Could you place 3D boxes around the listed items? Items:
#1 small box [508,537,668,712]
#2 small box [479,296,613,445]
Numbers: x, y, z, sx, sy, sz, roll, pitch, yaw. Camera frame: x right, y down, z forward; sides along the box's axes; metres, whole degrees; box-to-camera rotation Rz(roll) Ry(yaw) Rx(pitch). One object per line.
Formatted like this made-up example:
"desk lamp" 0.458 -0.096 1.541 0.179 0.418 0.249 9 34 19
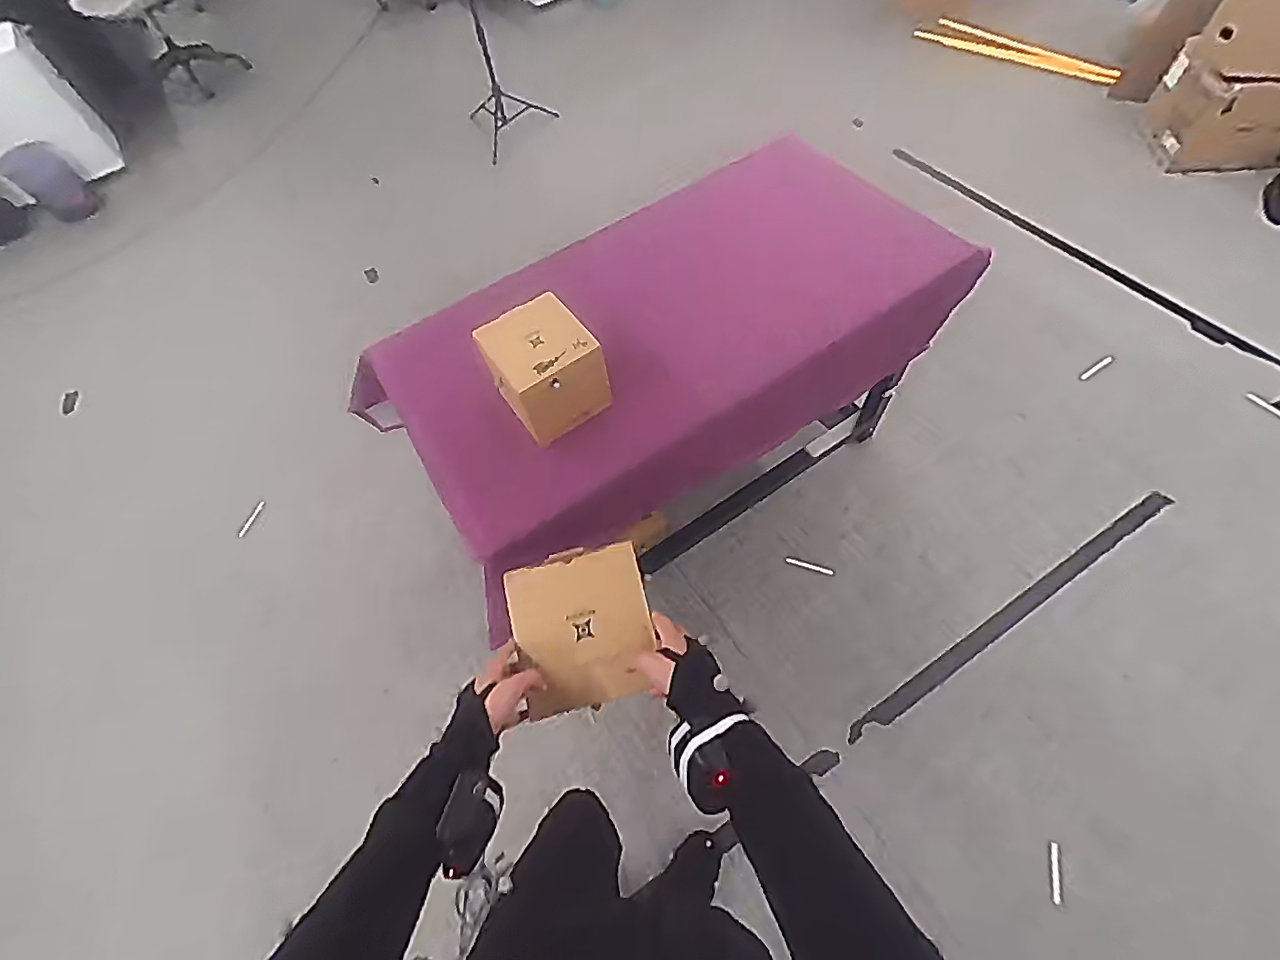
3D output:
"small box" -0.065 0.192 0.720 0.168 0.176 0.179 -13 74 -3
"small box" -0.168 -0.199 1.004 0.168 0.176 0.179 -33 63 -13
